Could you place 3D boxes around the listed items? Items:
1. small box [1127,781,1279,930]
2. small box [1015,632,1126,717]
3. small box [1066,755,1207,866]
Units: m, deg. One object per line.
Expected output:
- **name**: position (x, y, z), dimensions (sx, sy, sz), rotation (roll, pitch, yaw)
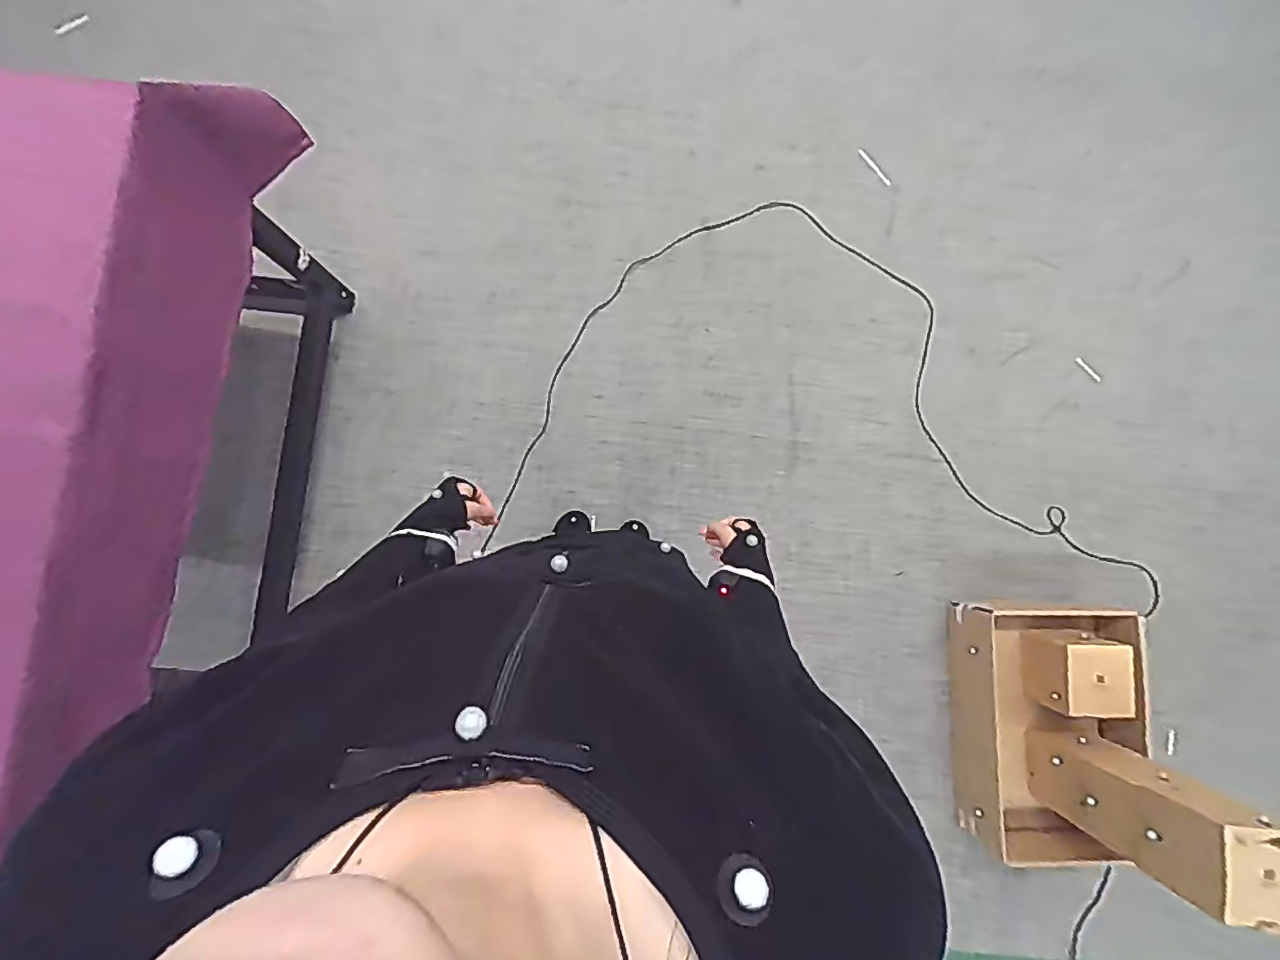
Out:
- **small box**: position (1.116, 0.731, 1.067), dimensions (0.168, 0.176, 0.179), rotation (7, 85, -2)
- **small box**: position (1.117, 0.501, 1.415), dimensions (0.168, 0.176, 0.179), rotation (1, 87, -1)
- **small box**: position (1.124, 0.746, 1.233), dimensions (0.179, 0.176, 0.168), rotation (3, 85, -2)
